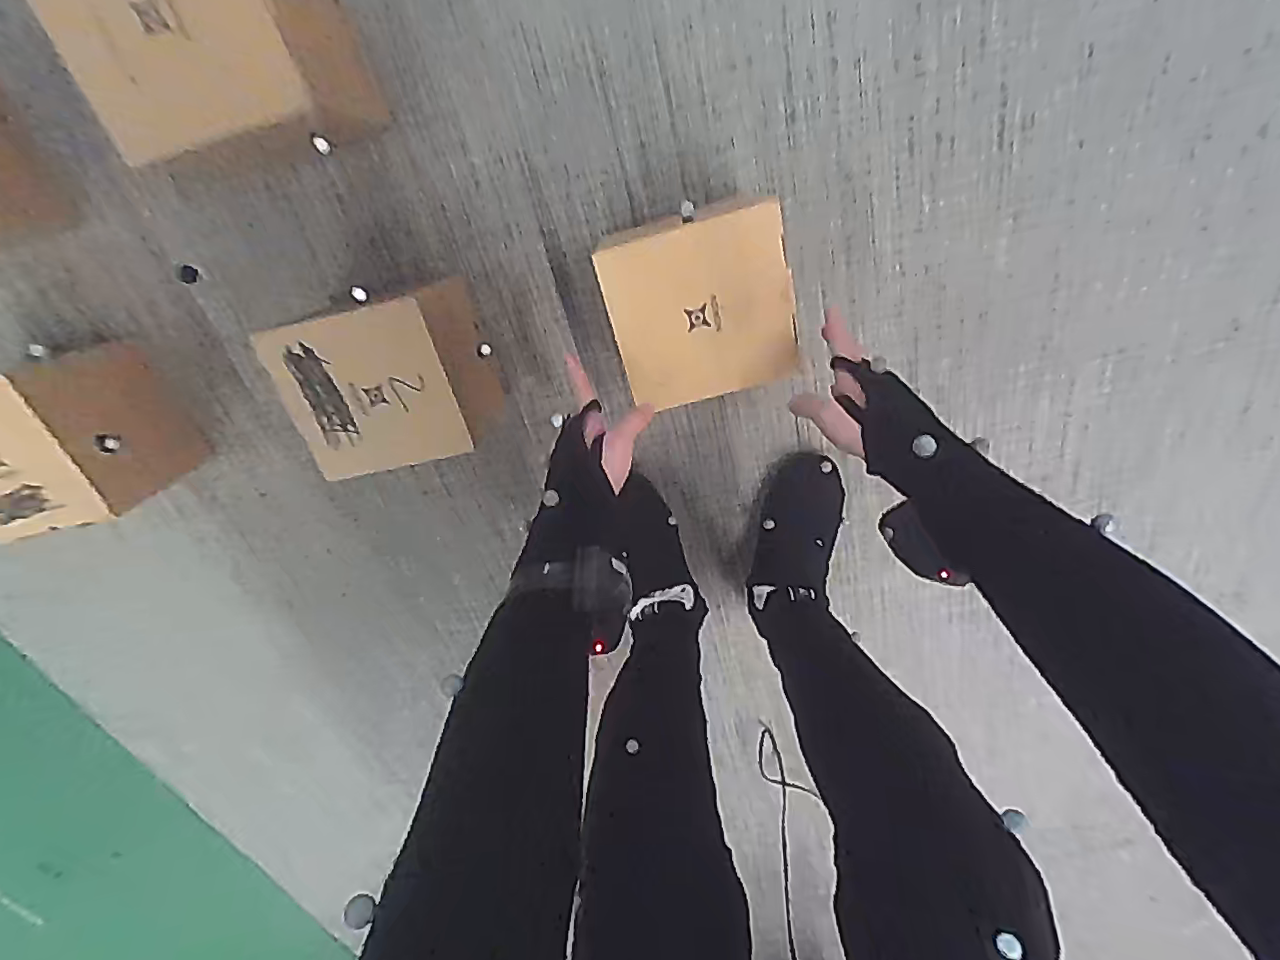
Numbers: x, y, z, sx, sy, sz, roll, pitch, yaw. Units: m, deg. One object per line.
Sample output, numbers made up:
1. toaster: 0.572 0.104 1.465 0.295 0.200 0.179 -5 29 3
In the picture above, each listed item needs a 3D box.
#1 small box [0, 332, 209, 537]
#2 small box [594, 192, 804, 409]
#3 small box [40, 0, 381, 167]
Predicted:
1. small box: -0.682 -0.060 0.647 0.168 0.176 0.179 -12 117 5
2. small box: 0.061 -0.197 0.586 0.179 0.176 0.168 -14 117 6
3. small box: -0.359 -0.391 0.477 0.179 0.176 0.168 -13 116 6
